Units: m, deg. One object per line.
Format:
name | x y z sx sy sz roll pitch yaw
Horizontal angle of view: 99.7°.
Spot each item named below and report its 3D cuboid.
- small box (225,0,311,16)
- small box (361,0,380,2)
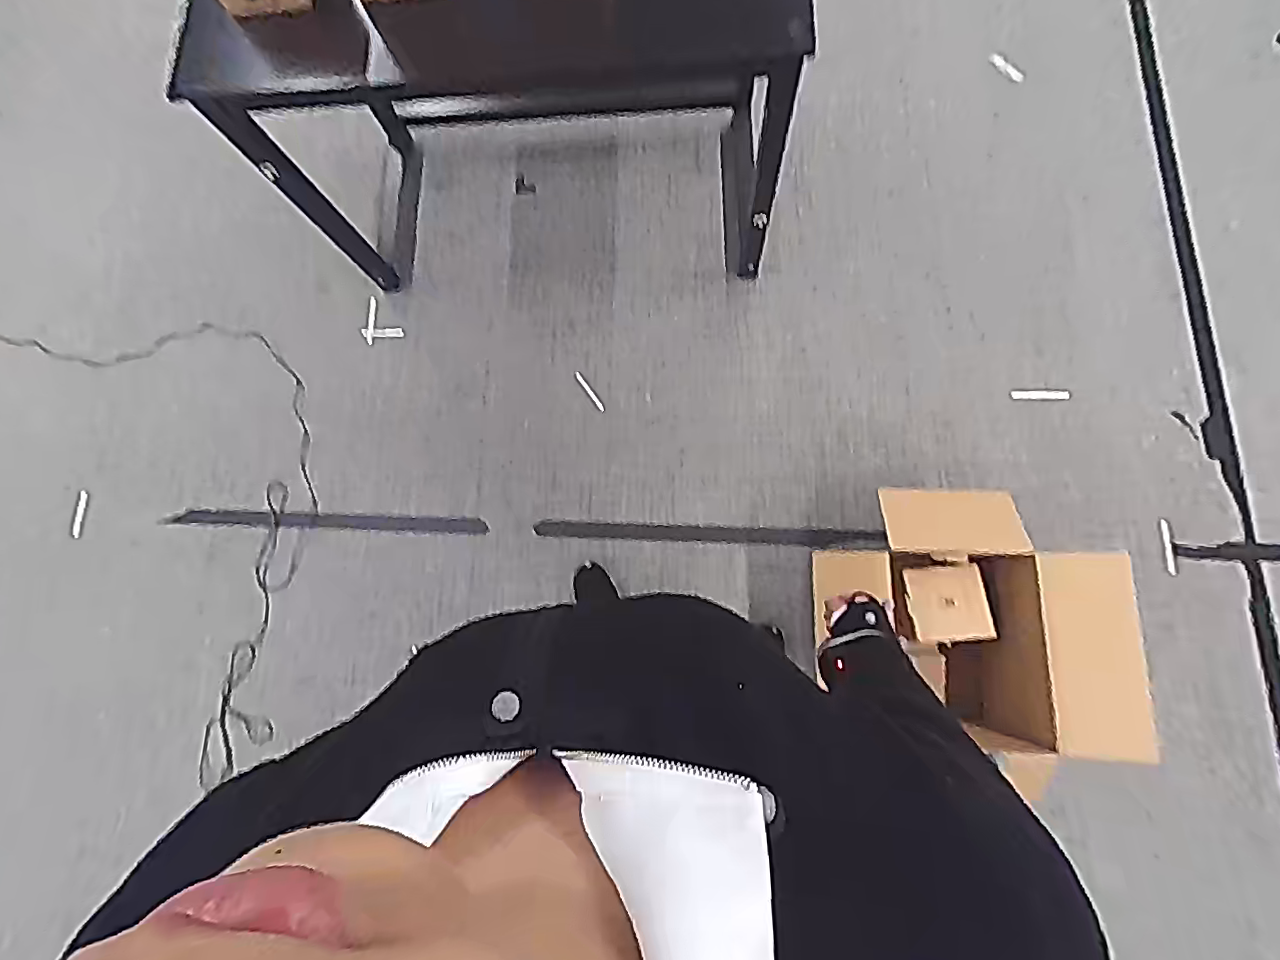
small box | -0.724 -1.003 0.986 0.168 0.176 0.179 -2 79 4
small box | -0.458 -1.006 0.965 0.179 0.176 0.168 -1 78 4
